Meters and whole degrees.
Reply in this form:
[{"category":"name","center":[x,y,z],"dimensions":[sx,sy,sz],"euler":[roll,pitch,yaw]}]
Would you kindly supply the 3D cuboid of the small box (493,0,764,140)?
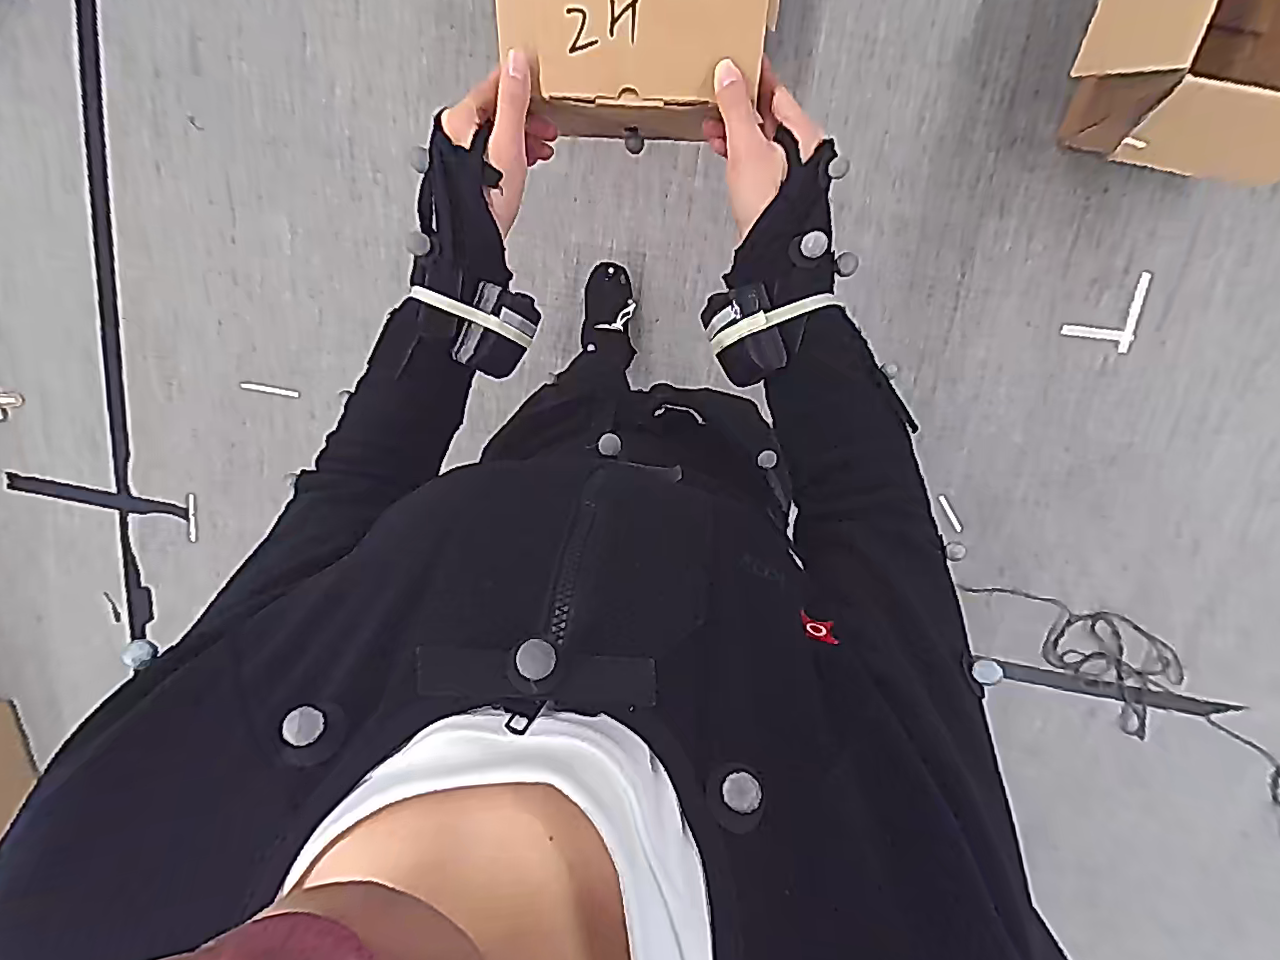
[{"category":"small box","center":[-0.003,-0.358,0.379],"dimensions":[0.168,0.176,0.179],"euler":[3,115,1]}]
